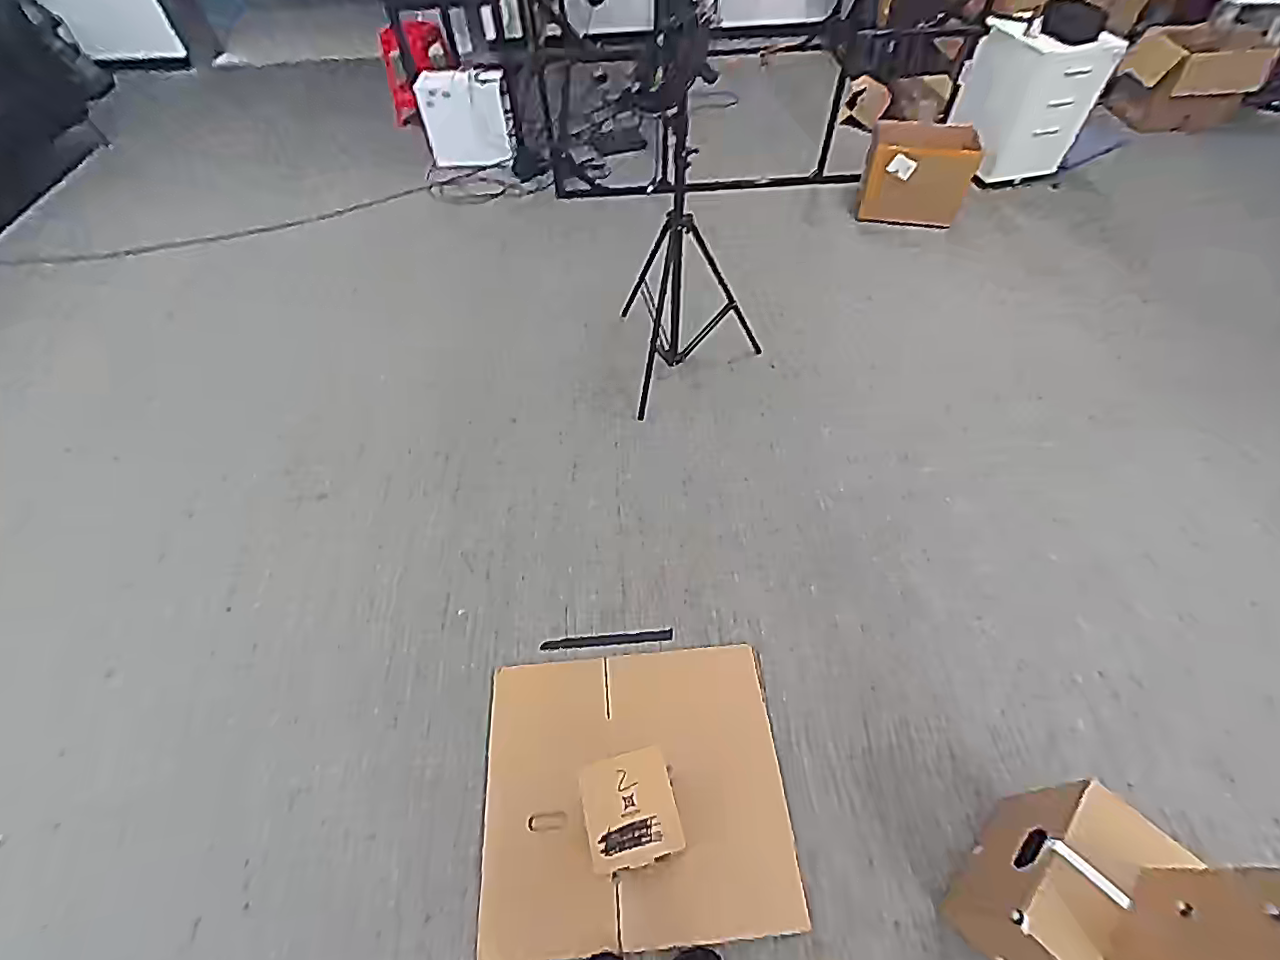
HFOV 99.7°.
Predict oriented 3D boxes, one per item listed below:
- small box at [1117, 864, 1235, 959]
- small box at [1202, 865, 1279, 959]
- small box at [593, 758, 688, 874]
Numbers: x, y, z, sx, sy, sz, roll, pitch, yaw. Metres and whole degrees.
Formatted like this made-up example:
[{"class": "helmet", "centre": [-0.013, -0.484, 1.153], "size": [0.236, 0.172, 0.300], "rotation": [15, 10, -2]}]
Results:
[{"class": "small box", "centre": [0.857, 0.701, 0.788], "size": [0.179, 0.176, 0.168], "rotation": [-40, 62, -23]}, {"class": "small box", "centre": [0.855, 0.603, 0.656], "size": [0.179, 0.176, 0.168], "rotation": [-39, 62, -24]}, {"class": "small box", "centre": [0.001, 0.728, 1.167], "size": [0.168, 0.176, 0.179], "rotation": [-13, 55, -5]}]
